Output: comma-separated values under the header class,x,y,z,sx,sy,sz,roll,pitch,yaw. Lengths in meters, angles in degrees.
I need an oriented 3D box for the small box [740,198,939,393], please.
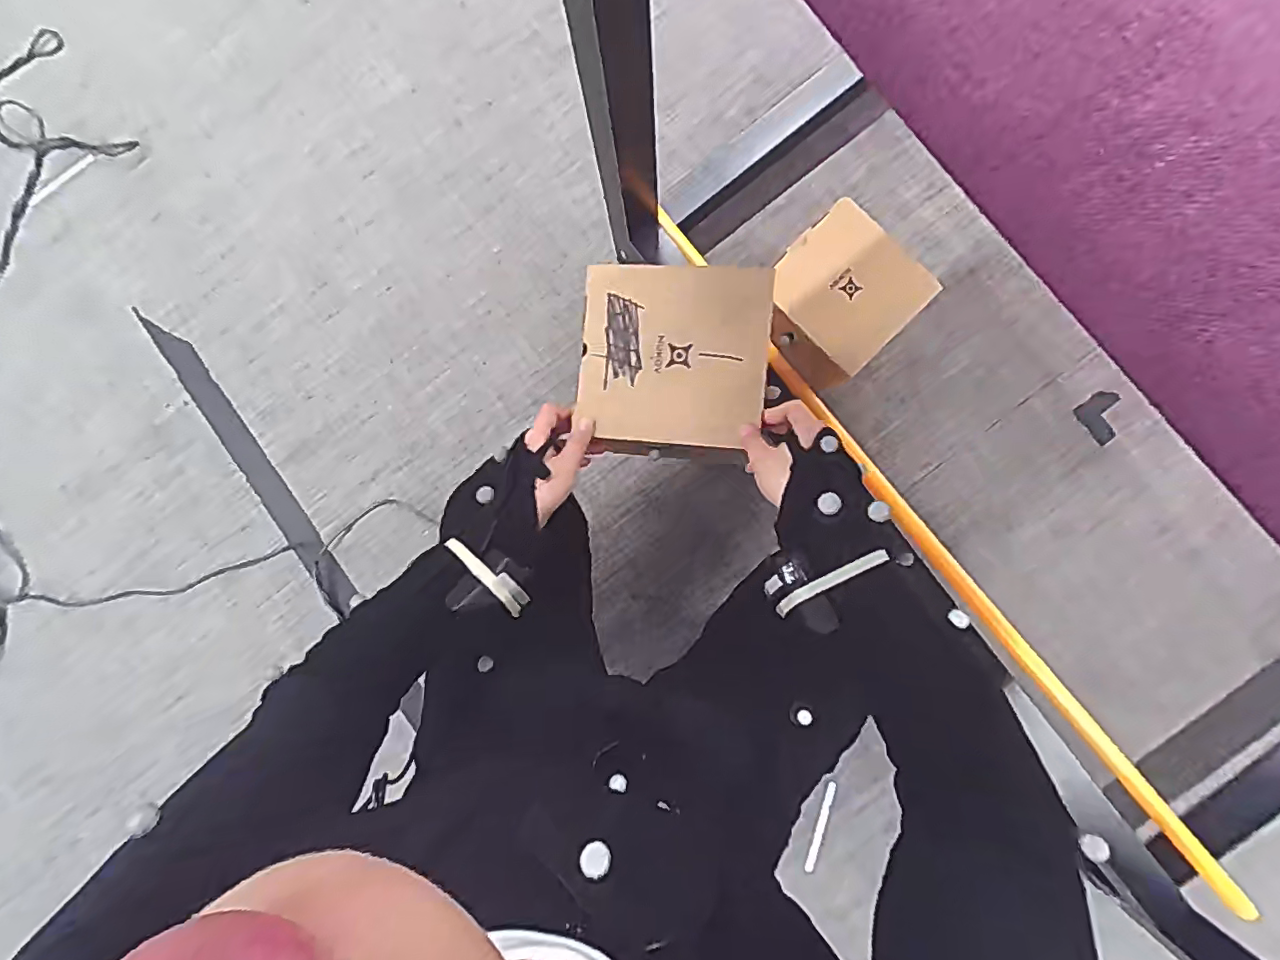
class,x,y,z,sx,sy,sz,roll,pitch,yaw
small box,0.266,-0.242,0.765,0.168,0.176,0.179,-45,86,0
